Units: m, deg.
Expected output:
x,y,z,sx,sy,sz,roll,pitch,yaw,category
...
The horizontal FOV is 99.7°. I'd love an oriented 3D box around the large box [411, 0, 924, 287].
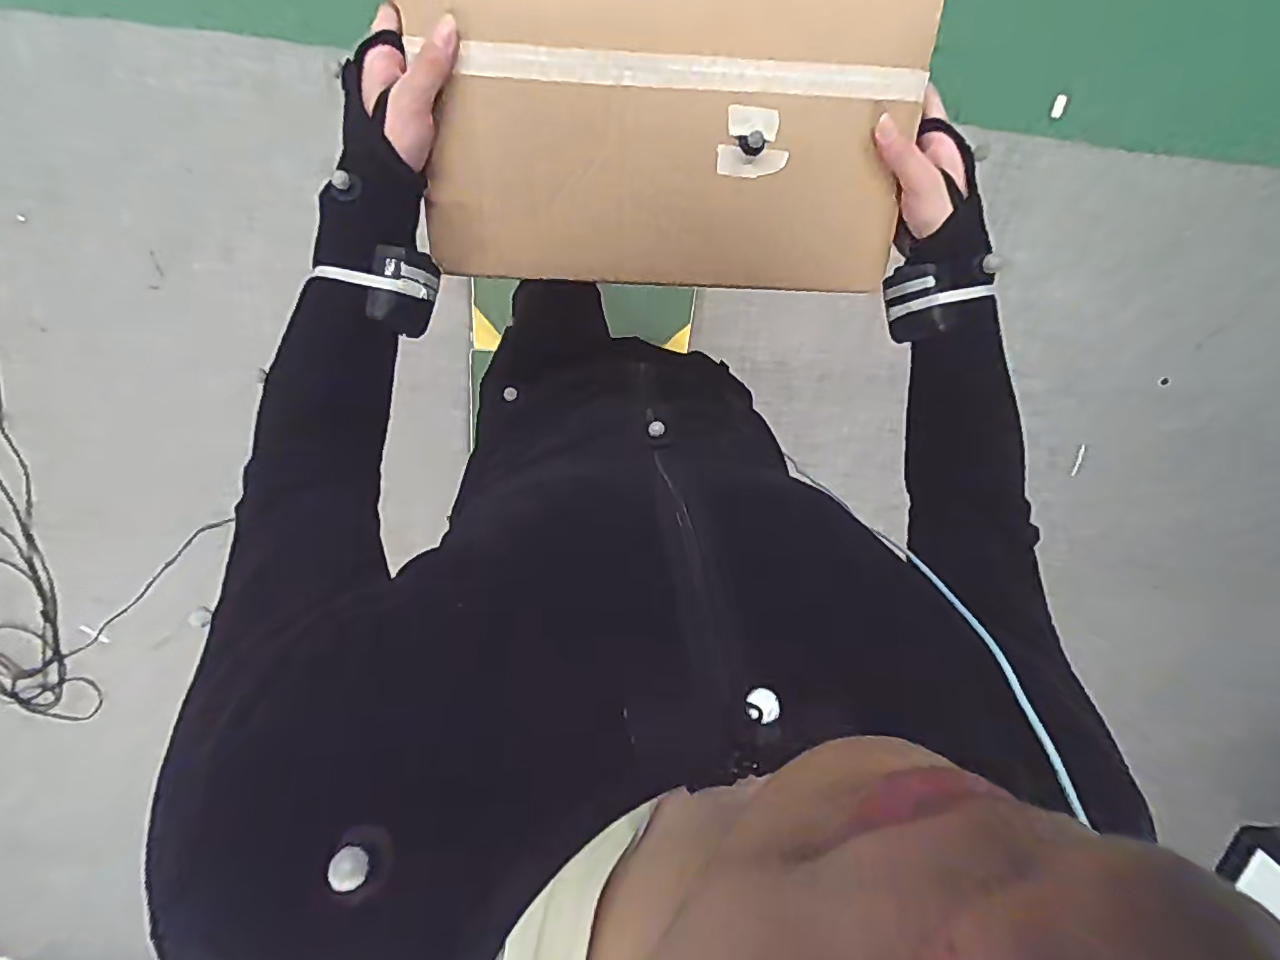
x,y,z,sx,sy,sz,roll,pitch,yaw,category
0.013,-0.383,0.572,0.408,0.320,0.320,0,116,-4,large box
